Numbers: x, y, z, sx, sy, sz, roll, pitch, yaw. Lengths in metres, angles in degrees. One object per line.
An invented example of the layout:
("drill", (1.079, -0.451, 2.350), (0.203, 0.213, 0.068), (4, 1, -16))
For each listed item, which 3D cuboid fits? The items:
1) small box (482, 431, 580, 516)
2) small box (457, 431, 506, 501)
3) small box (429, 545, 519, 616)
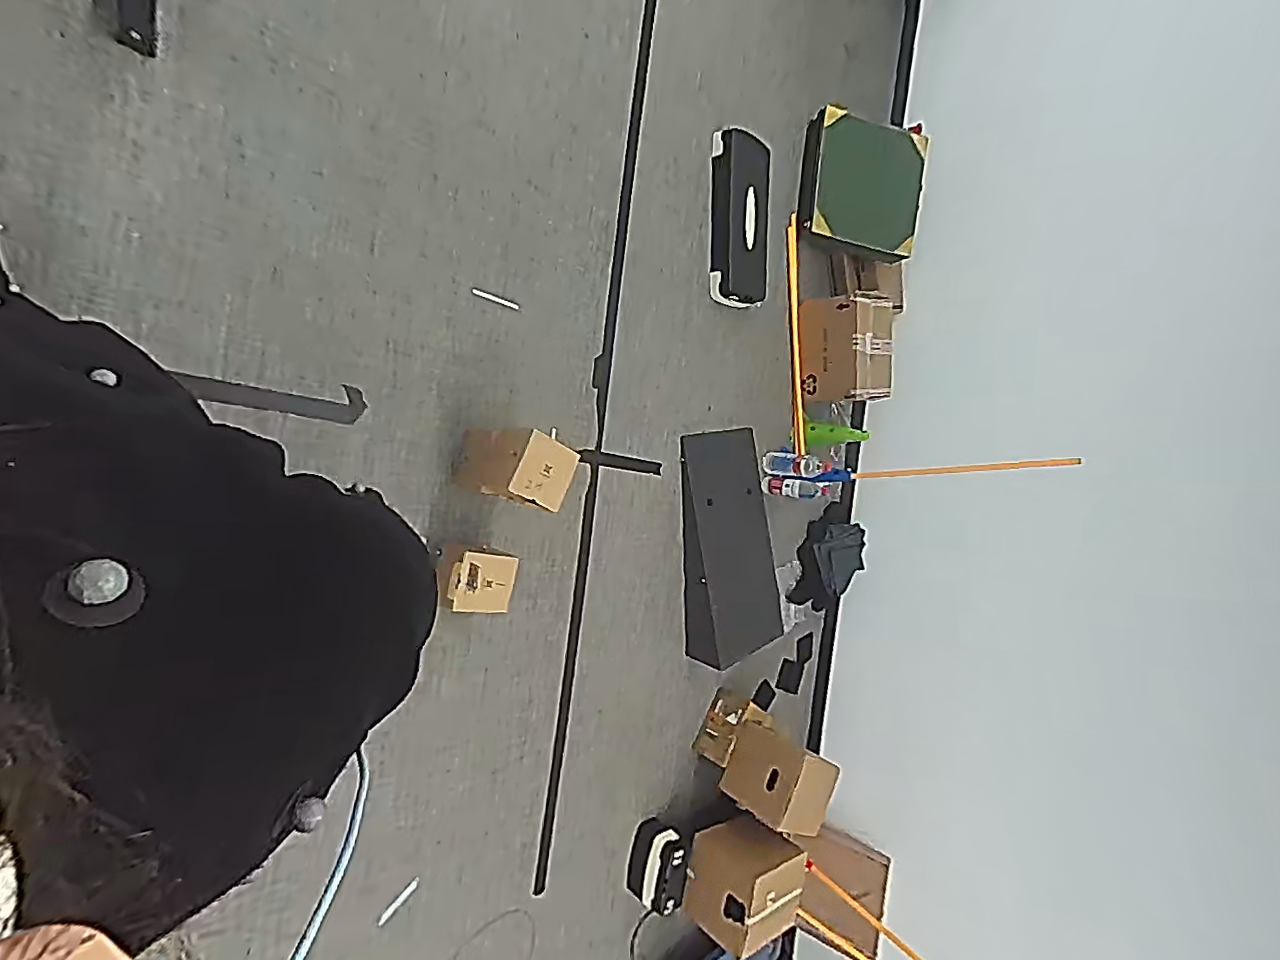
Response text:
("small box", (-0.300, -0.022, 1.463), (0.168, 0.176, 0.179), (32, 74, -41))
("small box", (-0.415, -0.037, 1.580), (0.168, 0.176, 0.179), (15, 86, -44))
("small box", (-0.482, 0.287, 1.562), (0.179, 0.176, 0.168), (16, 85, -44))
